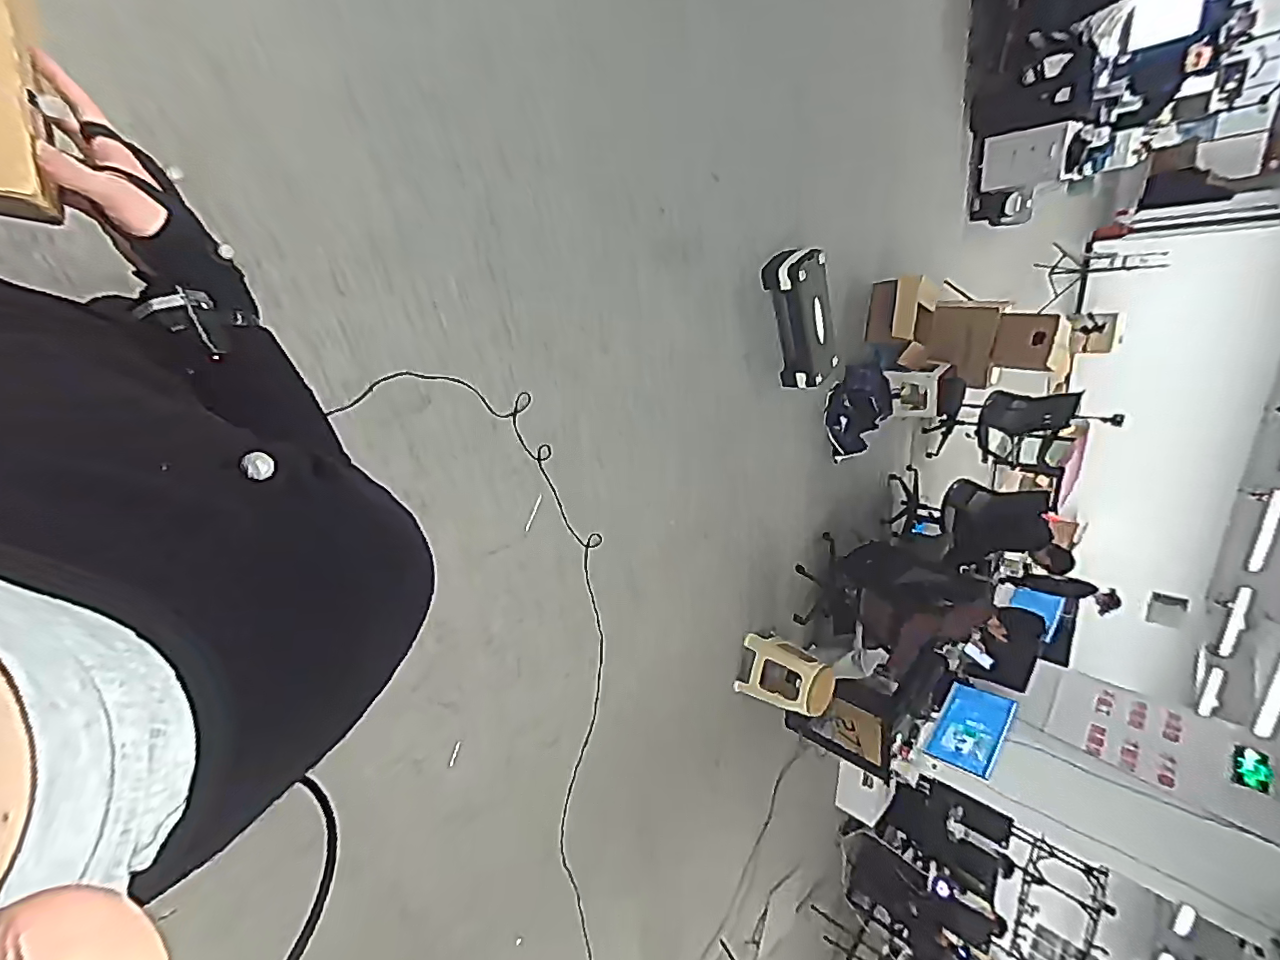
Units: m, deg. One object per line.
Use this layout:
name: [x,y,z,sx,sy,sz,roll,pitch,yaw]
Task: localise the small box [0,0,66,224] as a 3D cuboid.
small box: [-0.484,-0.268,0.330,0.168,0.176,0.179,-8,110,-43]
